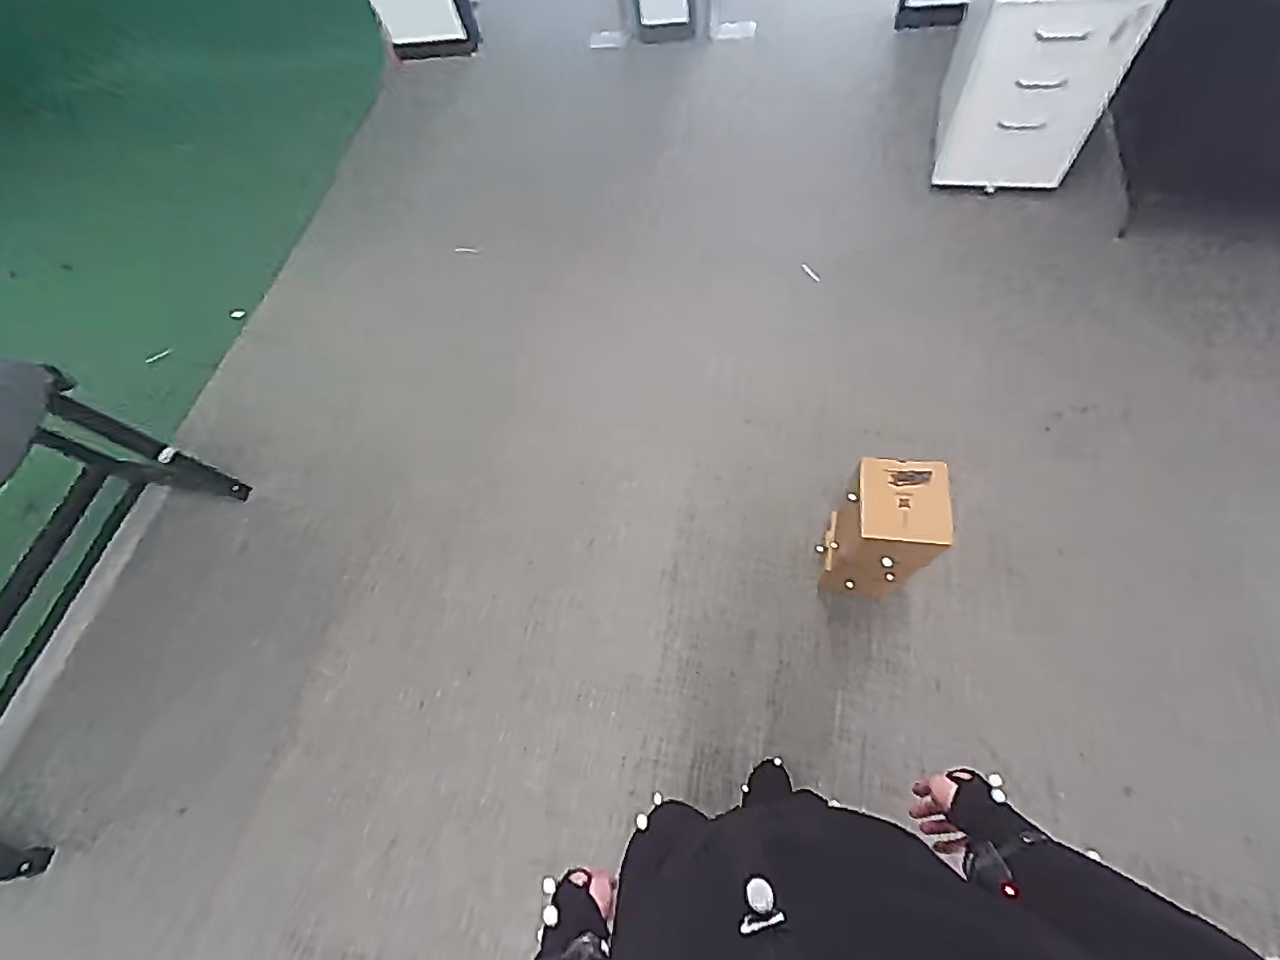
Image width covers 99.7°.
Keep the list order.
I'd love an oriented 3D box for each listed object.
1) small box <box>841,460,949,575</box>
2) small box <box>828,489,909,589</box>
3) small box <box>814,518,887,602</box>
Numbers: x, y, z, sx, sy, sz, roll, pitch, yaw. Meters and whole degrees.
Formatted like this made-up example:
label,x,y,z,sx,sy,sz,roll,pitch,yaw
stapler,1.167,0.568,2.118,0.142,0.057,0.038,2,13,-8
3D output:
label,x,y,z,sx,sy,sz,roll,pitch,yaw
small box,0.523,0.081,1.127,0.168,0.176,0.179,7,66,12
small box,0.549,0.145,1.280,0.168,0.176,0.179,9,65,11
small box,0.568,0.217,1.445,0.179,0.176,0.168,8,65,11
